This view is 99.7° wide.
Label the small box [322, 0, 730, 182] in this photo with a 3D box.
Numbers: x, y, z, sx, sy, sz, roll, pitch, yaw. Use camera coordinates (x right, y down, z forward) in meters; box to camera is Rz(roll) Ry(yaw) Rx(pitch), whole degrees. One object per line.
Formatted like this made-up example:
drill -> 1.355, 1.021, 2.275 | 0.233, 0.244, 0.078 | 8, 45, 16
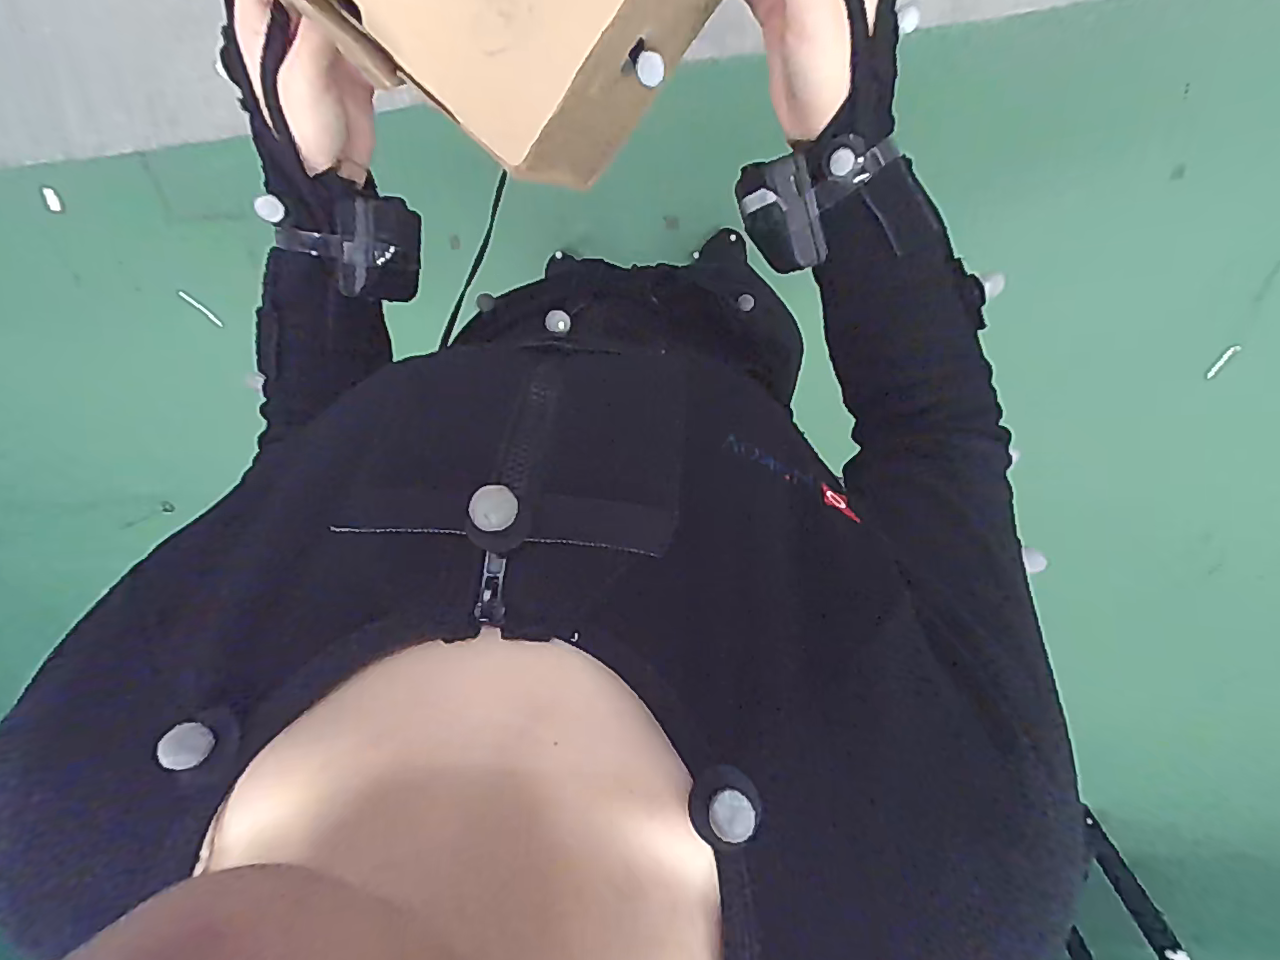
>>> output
small box -> -0.048, -0.273, 0.259 | 0.168, 0.176, 0.179 | 39, 114, -13
